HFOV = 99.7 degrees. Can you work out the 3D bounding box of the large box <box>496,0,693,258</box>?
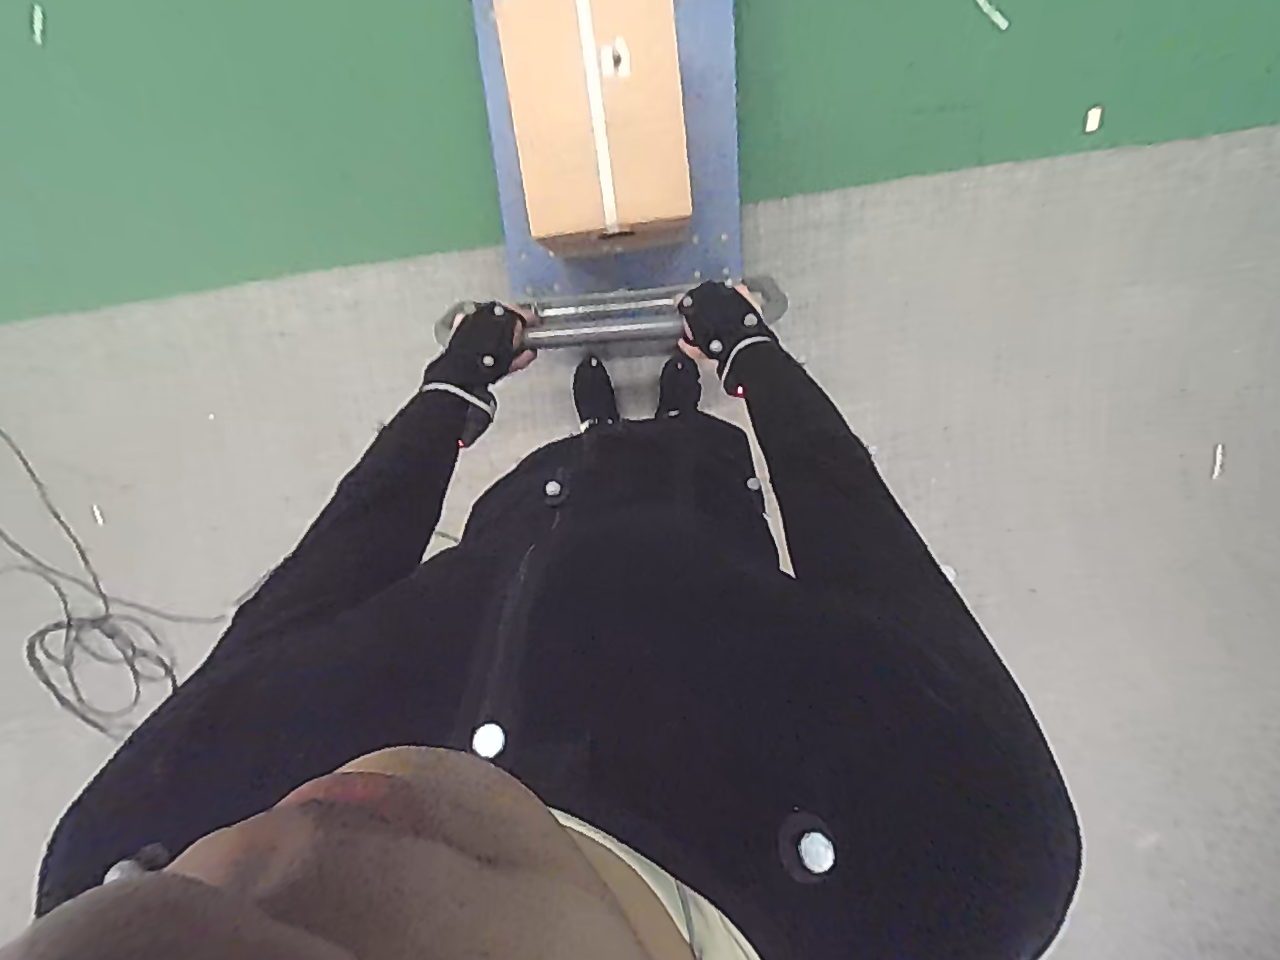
[{"bbox_3d":[-0.068,-0.714,1.128,0.320,0.320,0.408,-6,105,4],"label":"large box"}]
